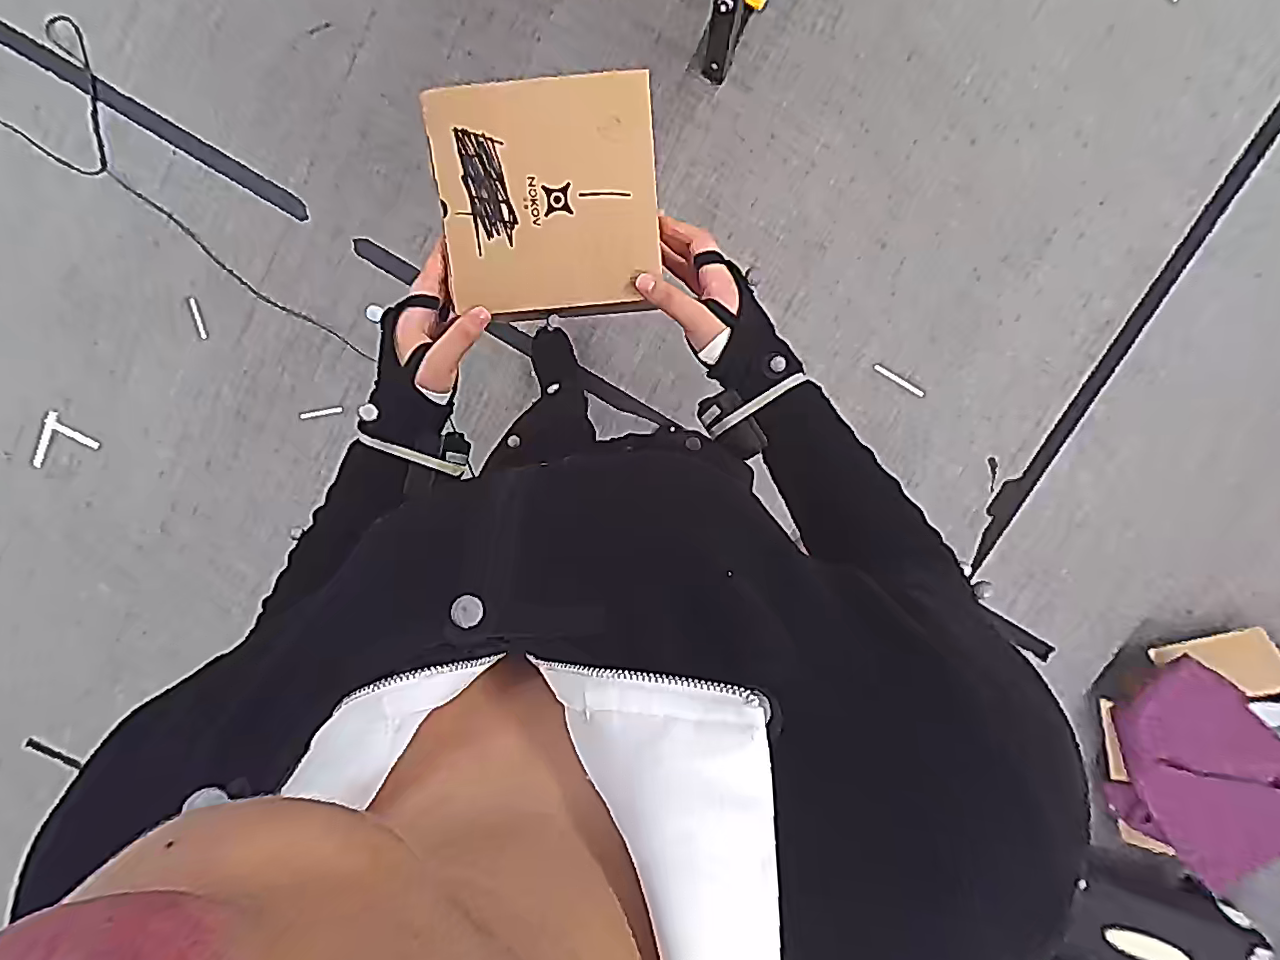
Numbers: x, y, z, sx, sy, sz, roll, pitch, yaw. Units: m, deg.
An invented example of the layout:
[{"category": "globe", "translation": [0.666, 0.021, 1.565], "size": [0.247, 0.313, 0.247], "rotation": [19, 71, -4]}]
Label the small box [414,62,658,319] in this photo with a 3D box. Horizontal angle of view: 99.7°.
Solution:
[{"category": "small box", "translation": [-0.077, -0.242, 0.495], "size": [0.179, 0.176, 0.168], "rotation": [-5, 105, 1]}]
